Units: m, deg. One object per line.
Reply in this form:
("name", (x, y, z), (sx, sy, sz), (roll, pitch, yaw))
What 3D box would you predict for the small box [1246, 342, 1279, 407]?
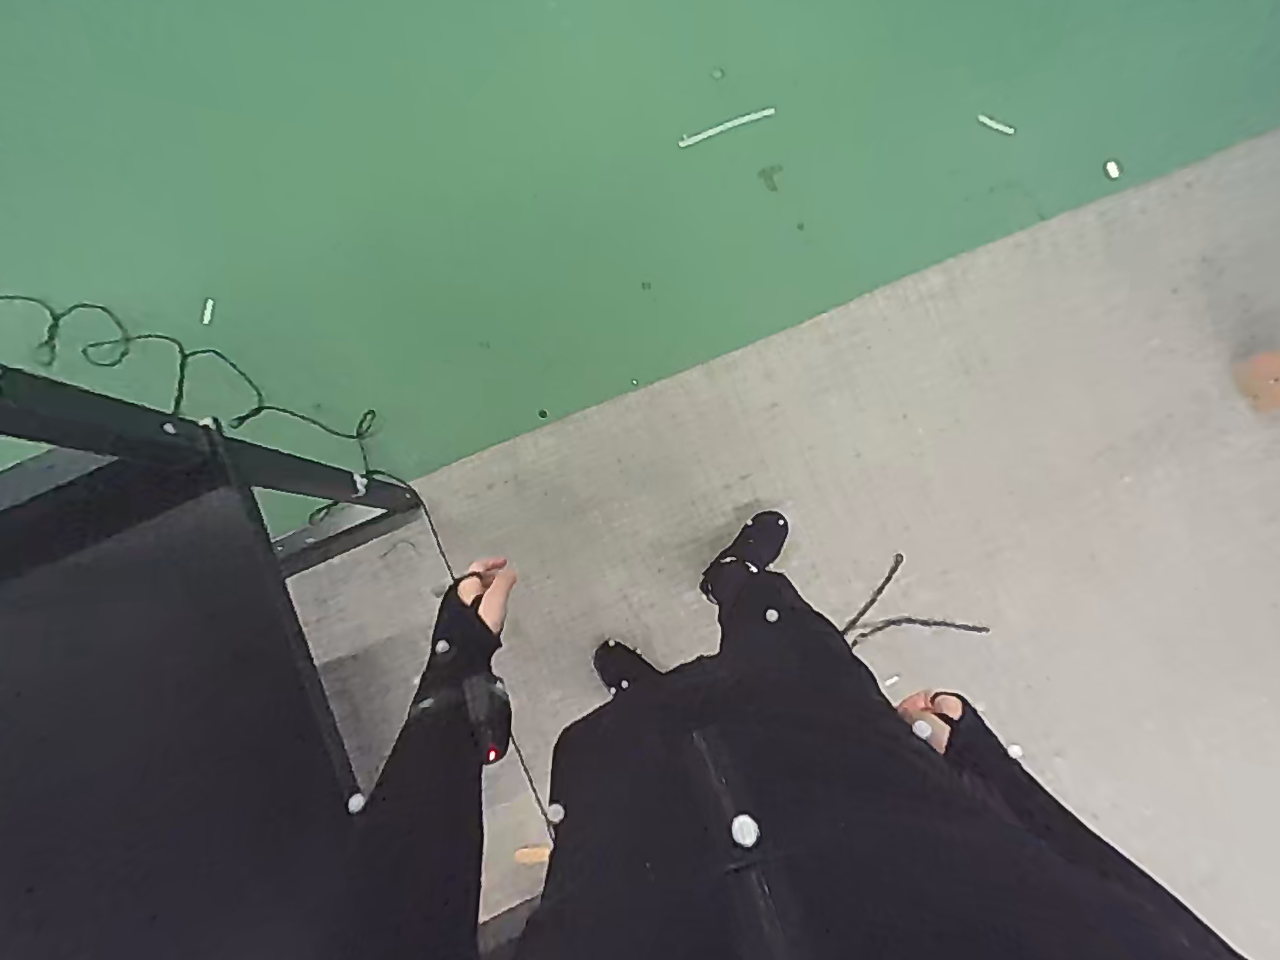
("small box", (1.810, -0.312, 1.452), (0.179, 0.176, 0.168), (-21, 83, -3))
